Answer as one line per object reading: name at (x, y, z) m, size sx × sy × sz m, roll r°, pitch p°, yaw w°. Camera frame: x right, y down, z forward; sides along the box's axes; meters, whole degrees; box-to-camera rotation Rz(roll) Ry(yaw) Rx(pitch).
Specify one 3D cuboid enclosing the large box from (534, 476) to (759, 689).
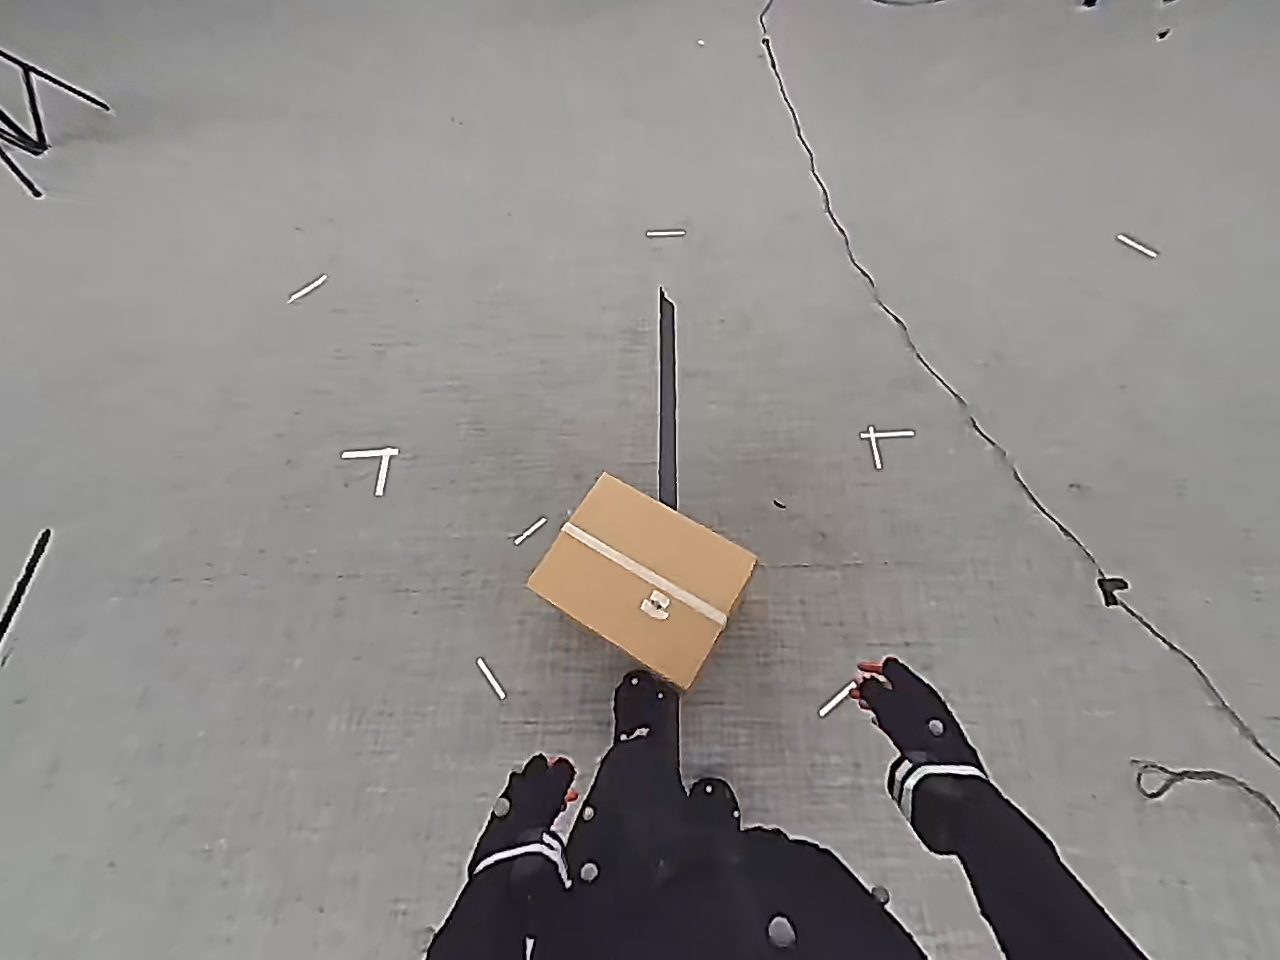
large box at (0.019, 0.253, 1.303) m, size 0.408 × 0.320 × 0.320 m, roll 27°, pitch 70°, yaw 15°
